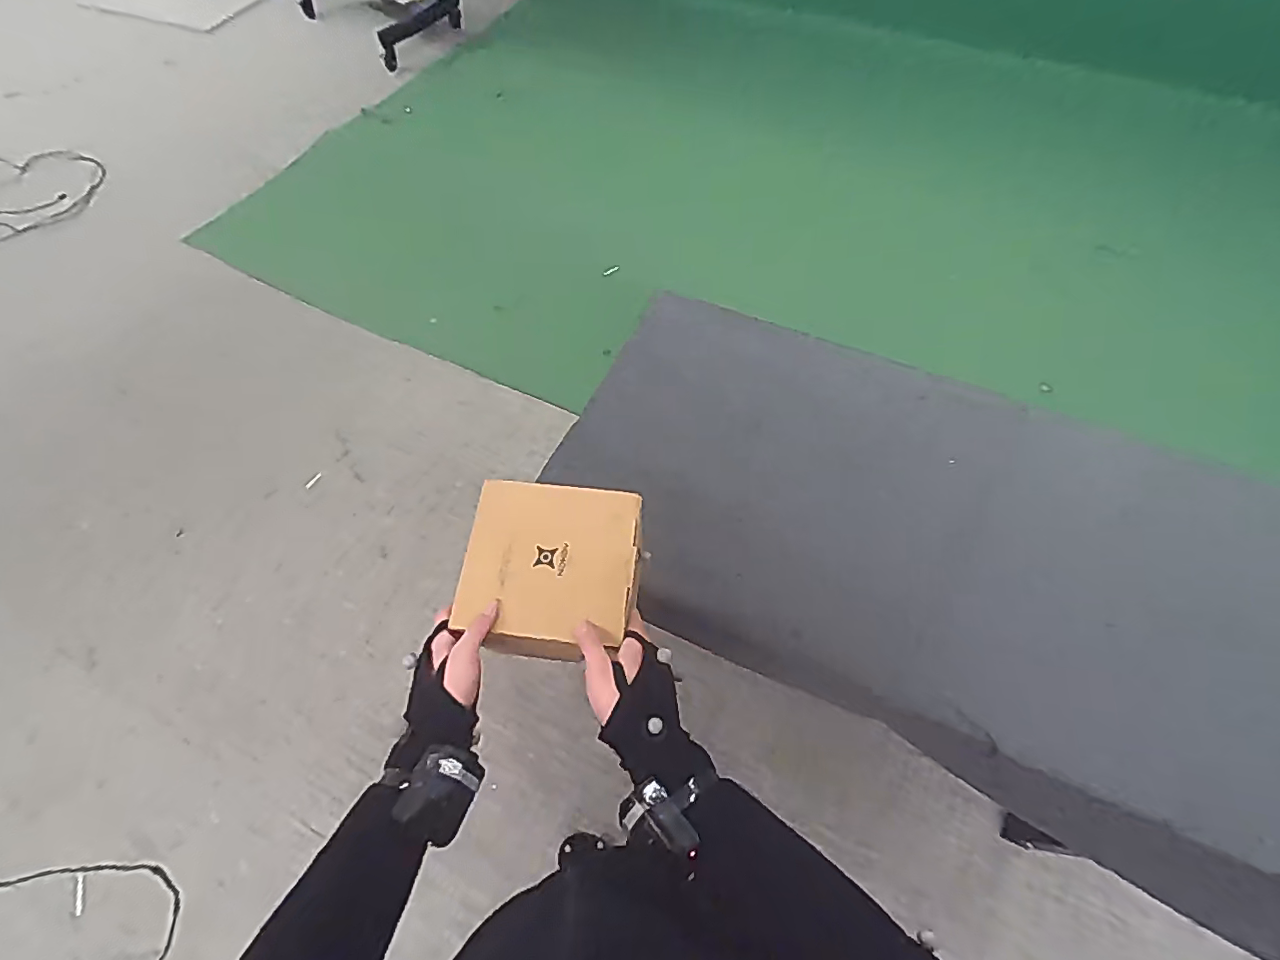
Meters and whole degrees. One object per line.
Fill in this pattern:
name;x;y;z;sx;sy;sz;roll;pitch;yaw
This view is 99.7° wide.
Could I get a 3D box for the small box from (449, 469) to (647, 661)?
small box;-0.088;0.105;0.617;0.179;0.176;0.168;5;63;3
